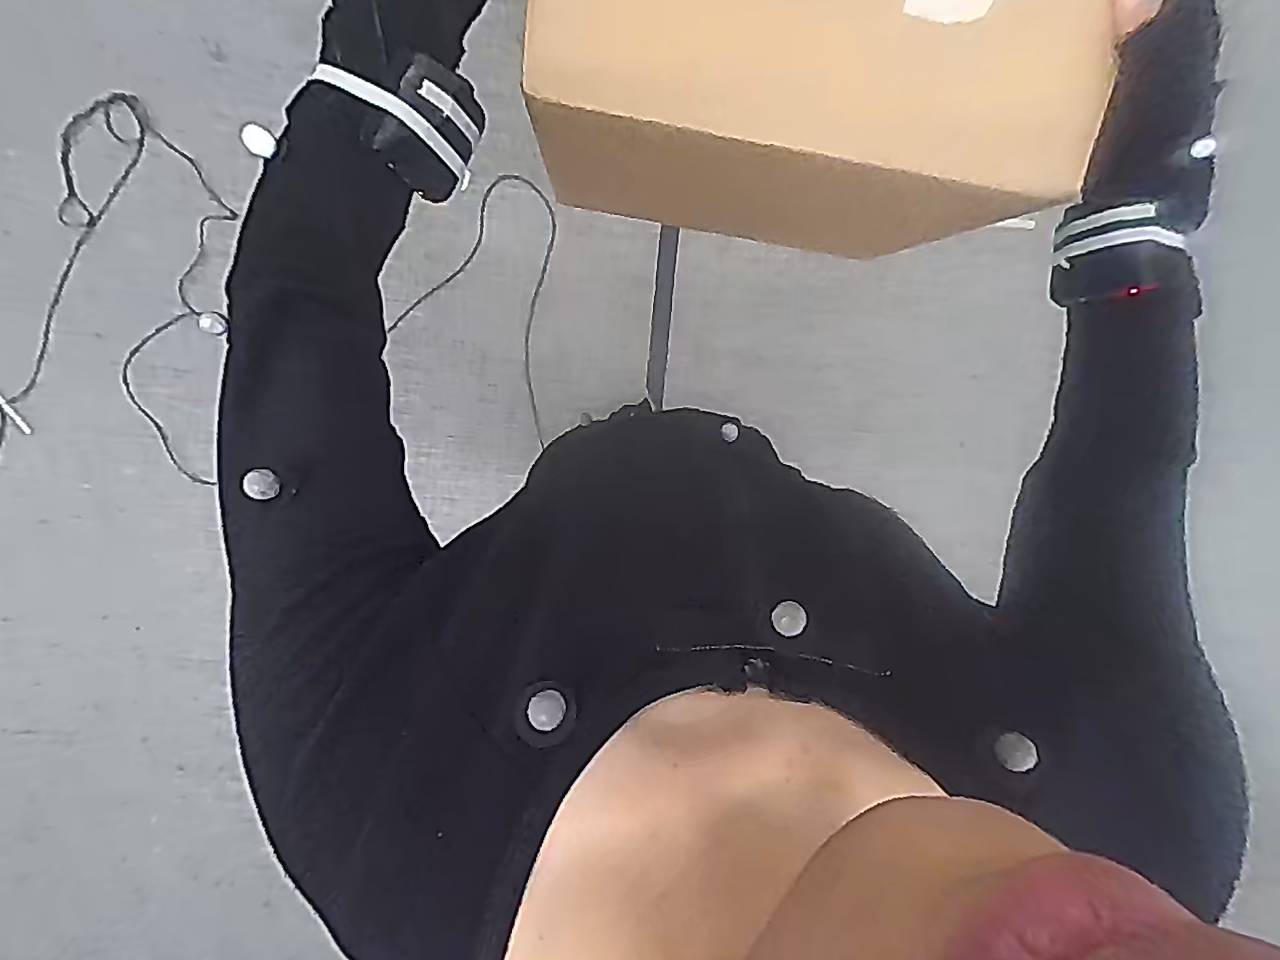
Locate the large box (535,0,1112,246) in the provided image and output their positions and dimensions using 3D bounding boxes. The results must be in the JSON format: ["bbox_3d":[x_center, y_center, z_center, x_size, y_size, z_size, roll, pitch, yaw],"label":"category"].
[{"bbox_3d":[0.126,-0.426,0.495,0.408,0.320,0.320,6,105,-7],"label":"large box"}]
